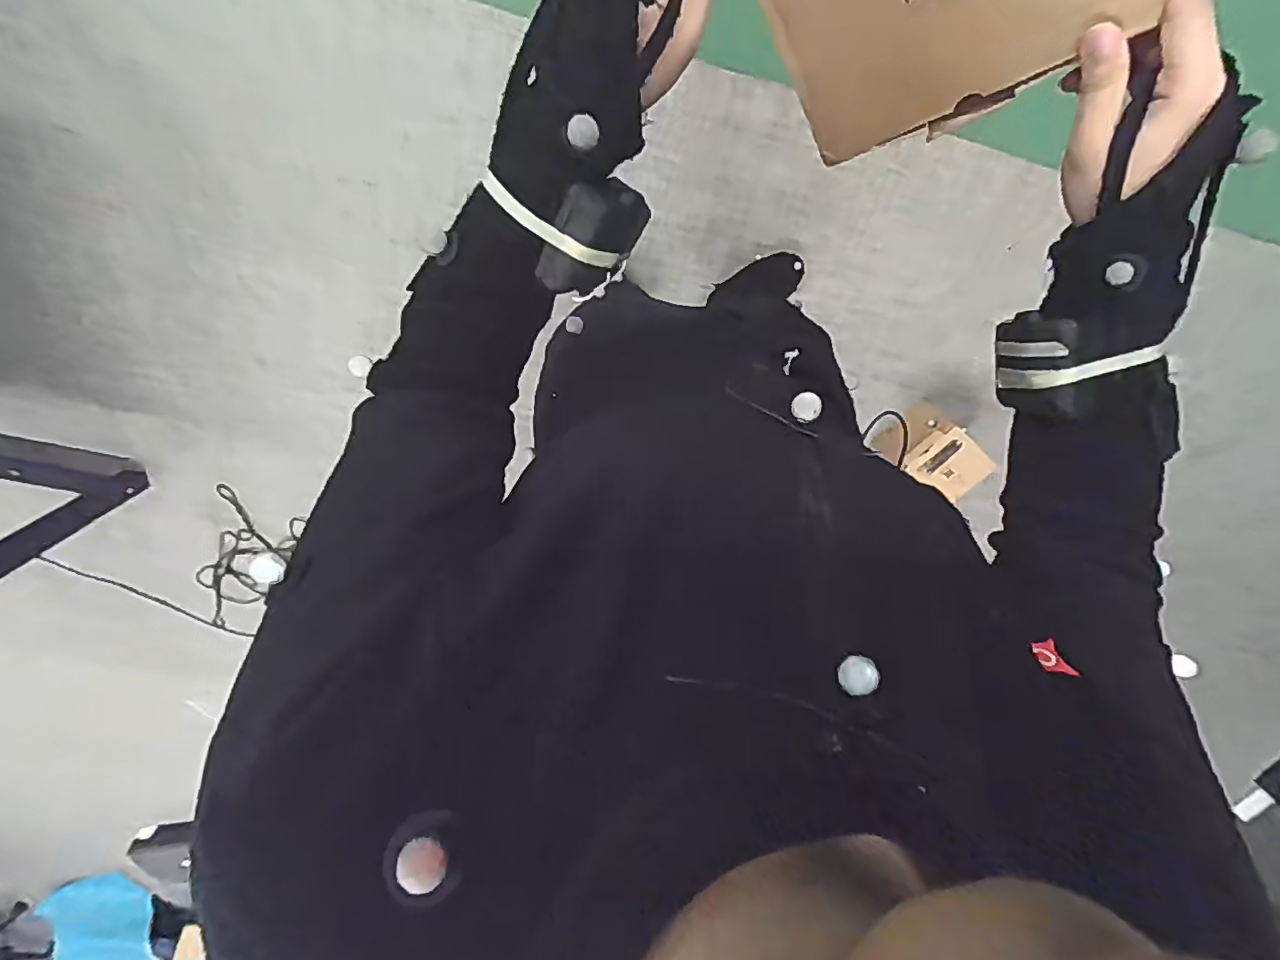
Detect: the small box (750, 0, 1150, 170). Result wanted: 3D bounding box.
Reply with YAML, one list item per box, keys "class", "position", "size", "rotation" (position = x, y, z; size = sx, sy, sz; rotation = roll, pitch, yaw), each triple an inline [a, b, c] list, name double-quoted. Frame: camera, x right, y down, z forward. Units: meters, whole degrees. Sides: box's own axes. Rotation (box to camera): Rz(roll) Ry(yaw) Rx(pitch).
- class: "small box"
  position: [0.156, -0.324, 0.289]
  size: [0.168, 0.176, 0.179]
  rotation: [-7, 149, 39]
